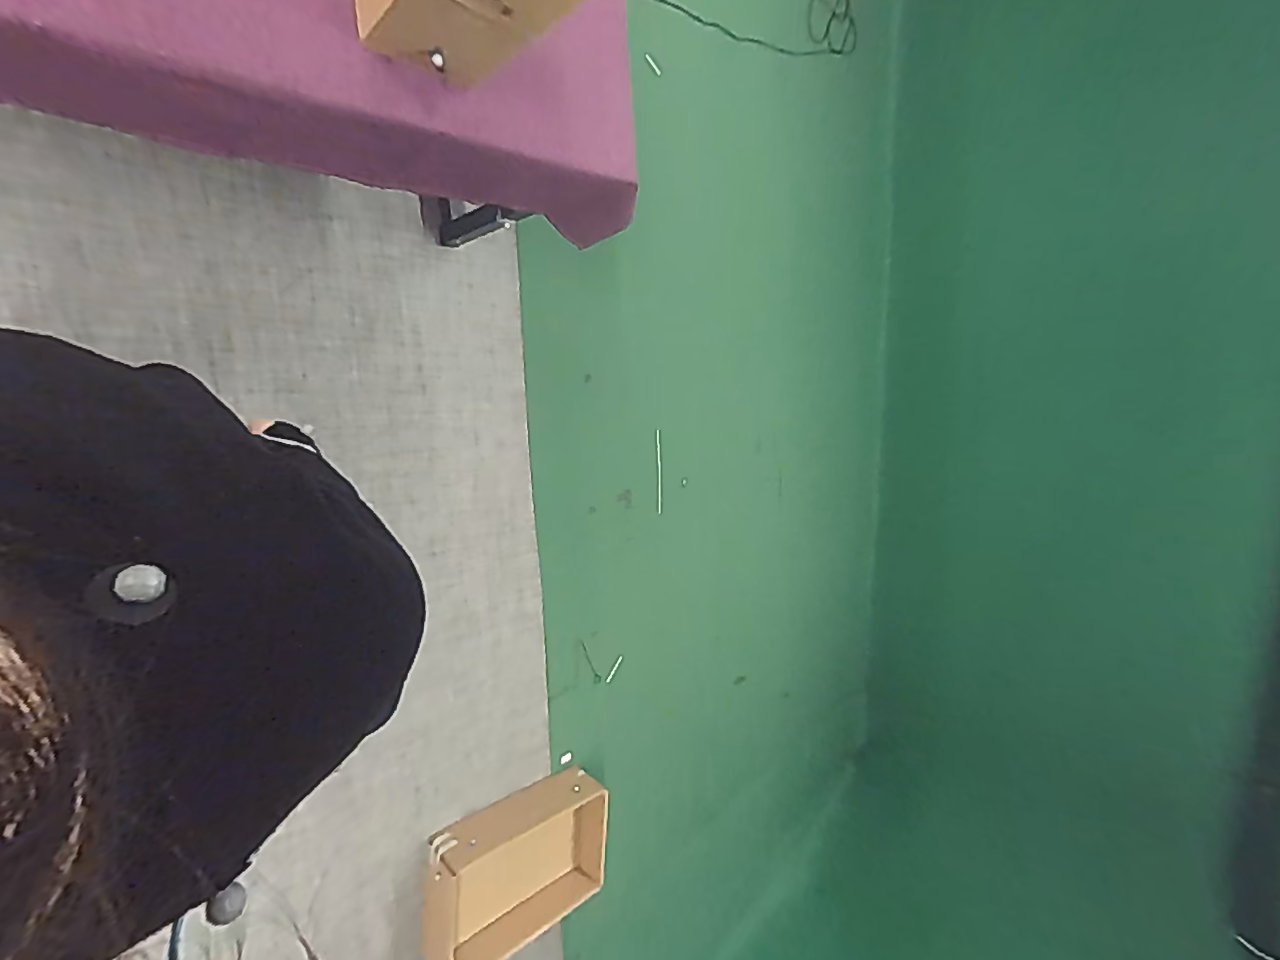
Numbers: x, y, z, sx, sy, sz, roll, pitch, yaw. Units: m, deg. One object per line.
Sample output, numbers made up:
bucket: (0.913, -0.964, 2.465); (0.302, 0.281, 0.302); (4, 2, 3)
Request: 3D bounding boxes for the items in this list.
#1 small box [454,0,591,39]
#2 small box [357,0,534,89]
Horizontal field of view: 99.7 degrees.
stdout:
small box: (-0.140, -0.648, 0.595); (0.168, 0.176, 0.179); (-12, 105, -45)
small box: (-0.259, -0.662, 0.704); (0.168, 0.176, 0.179); (-12, 104, -45)
